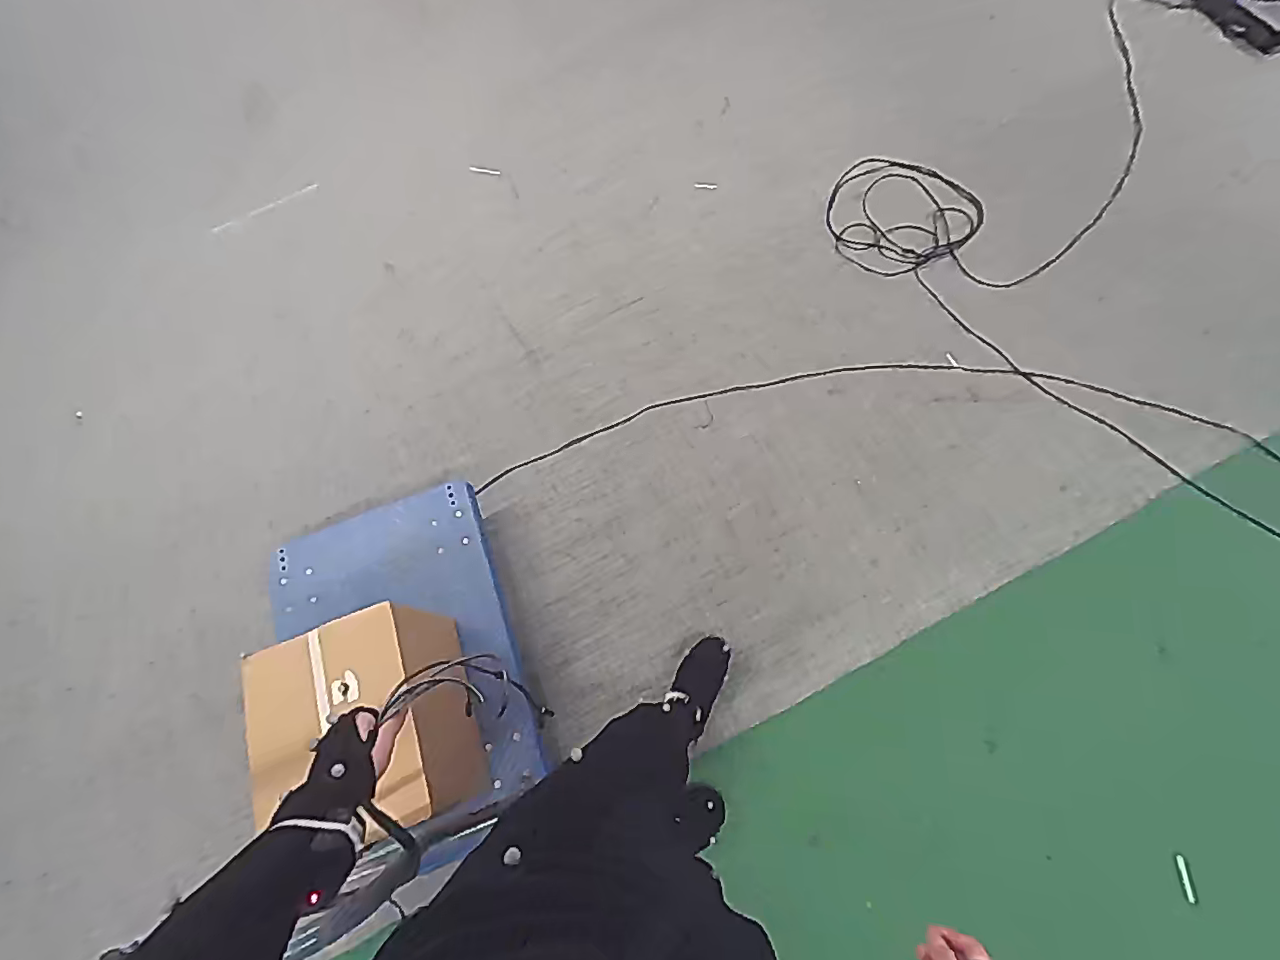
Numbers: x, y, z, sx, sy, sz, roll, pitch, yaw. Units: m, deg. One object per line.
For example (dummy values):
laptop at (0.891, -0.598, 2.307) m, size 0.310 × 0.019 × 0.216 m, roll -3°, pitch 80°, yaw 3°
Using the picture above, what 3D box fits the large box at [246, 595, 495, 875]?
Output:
large box at (-0.549, 0.507, 1.140) m, size 0.320 × 0.320 × 0.408 m, roll -22°, pitch 68°, yaw -3°
